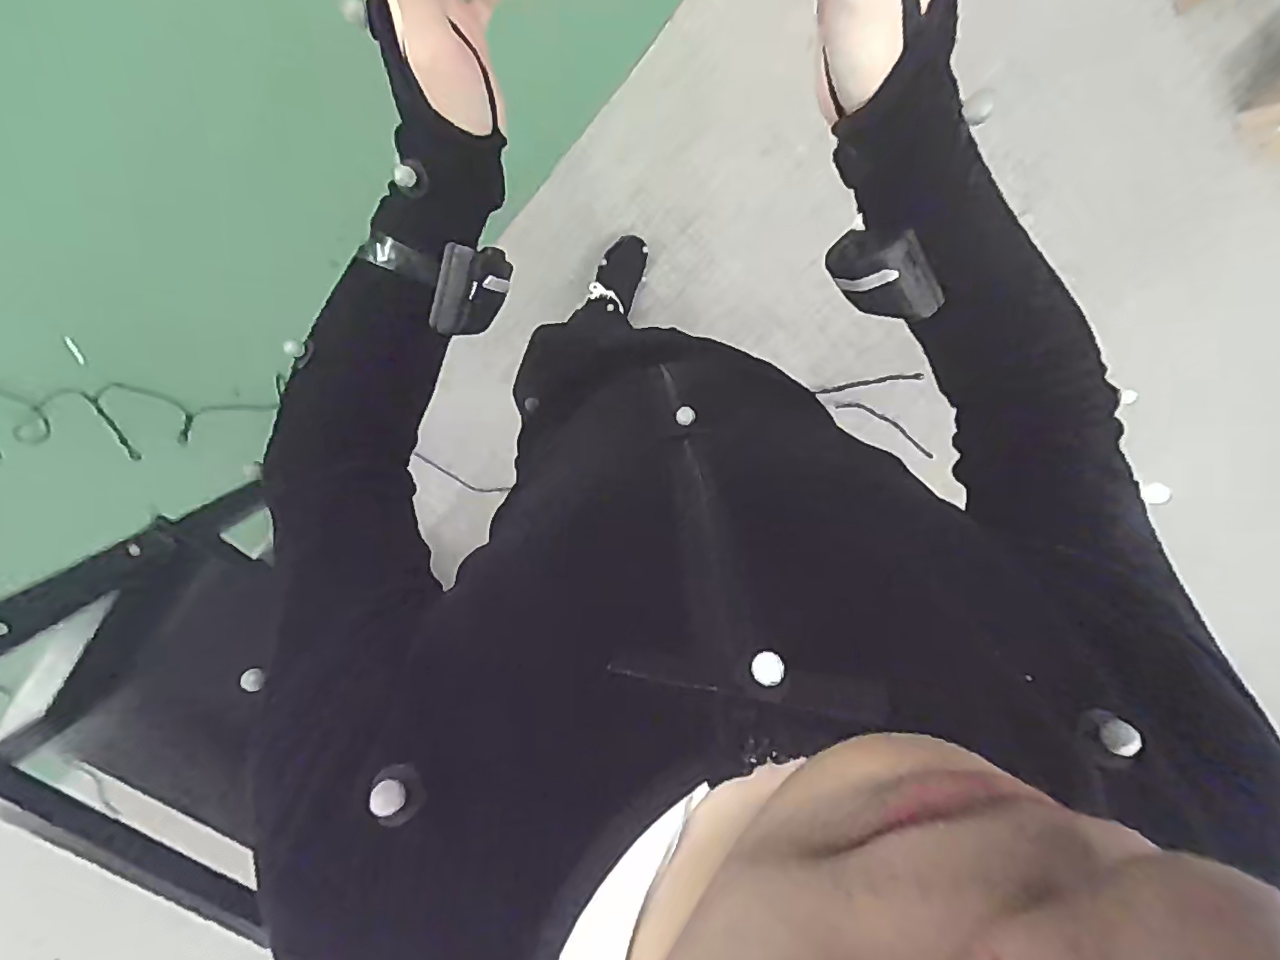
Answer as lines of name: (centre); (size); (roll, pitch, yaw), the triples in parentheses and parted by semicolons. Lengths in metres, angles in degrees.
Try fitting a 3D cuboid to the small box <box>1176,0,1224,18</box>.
small box: (1.320, -1.163, 1.173); (0.179, 0.176, 0.168); (-24, 109, 7)
